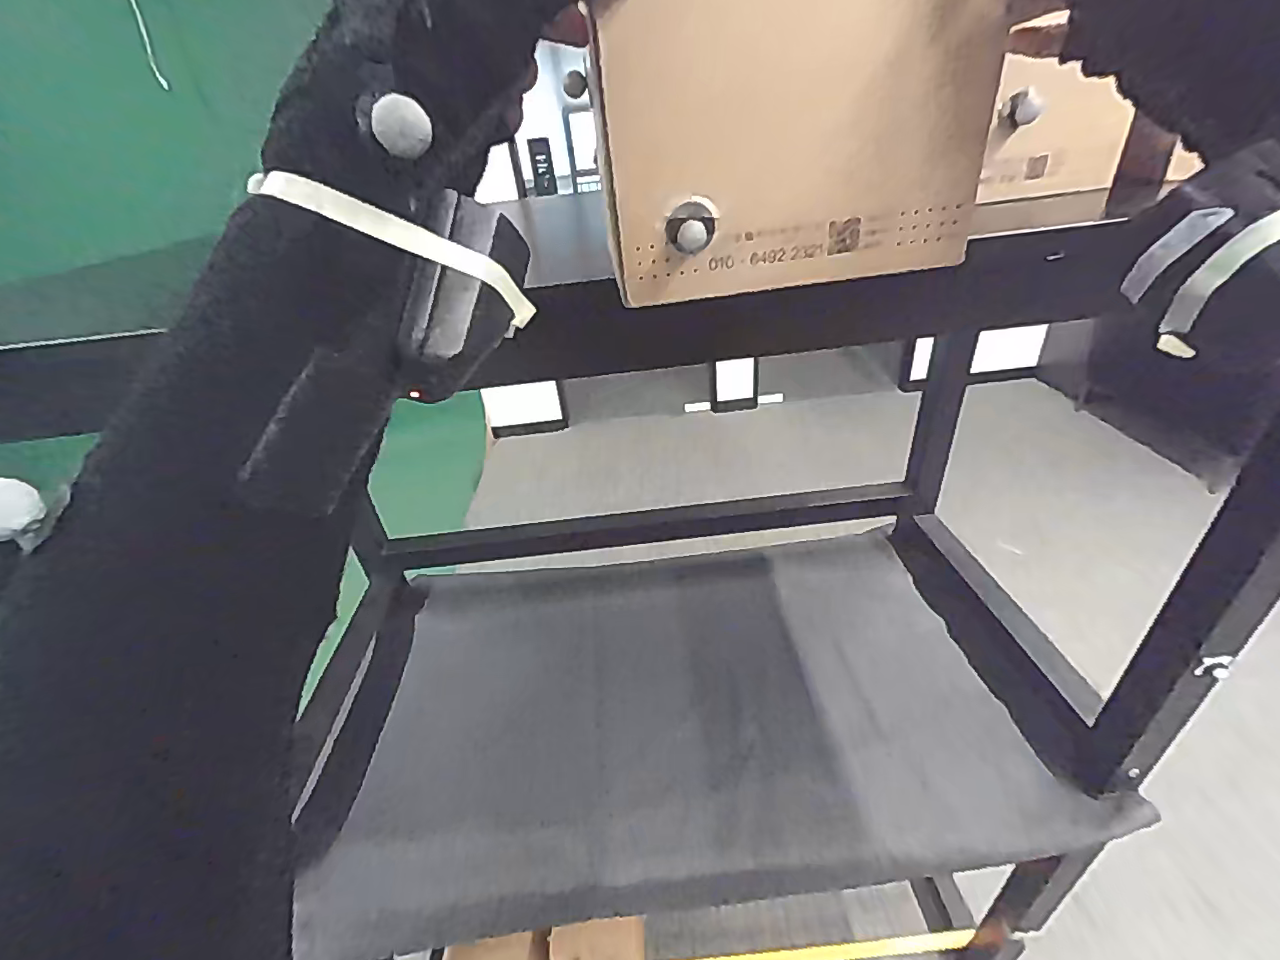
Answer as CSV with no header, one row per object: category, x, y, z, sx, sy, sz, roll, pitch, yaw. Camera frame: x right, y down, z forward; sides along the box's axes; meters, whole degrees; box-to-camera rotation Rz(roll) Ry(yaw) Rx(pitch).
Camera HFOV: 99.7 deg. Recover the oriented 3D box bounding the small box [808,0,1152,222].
small box,0.243,-0.311,0.433,0.168,0.176,0.179,-7,32,0
